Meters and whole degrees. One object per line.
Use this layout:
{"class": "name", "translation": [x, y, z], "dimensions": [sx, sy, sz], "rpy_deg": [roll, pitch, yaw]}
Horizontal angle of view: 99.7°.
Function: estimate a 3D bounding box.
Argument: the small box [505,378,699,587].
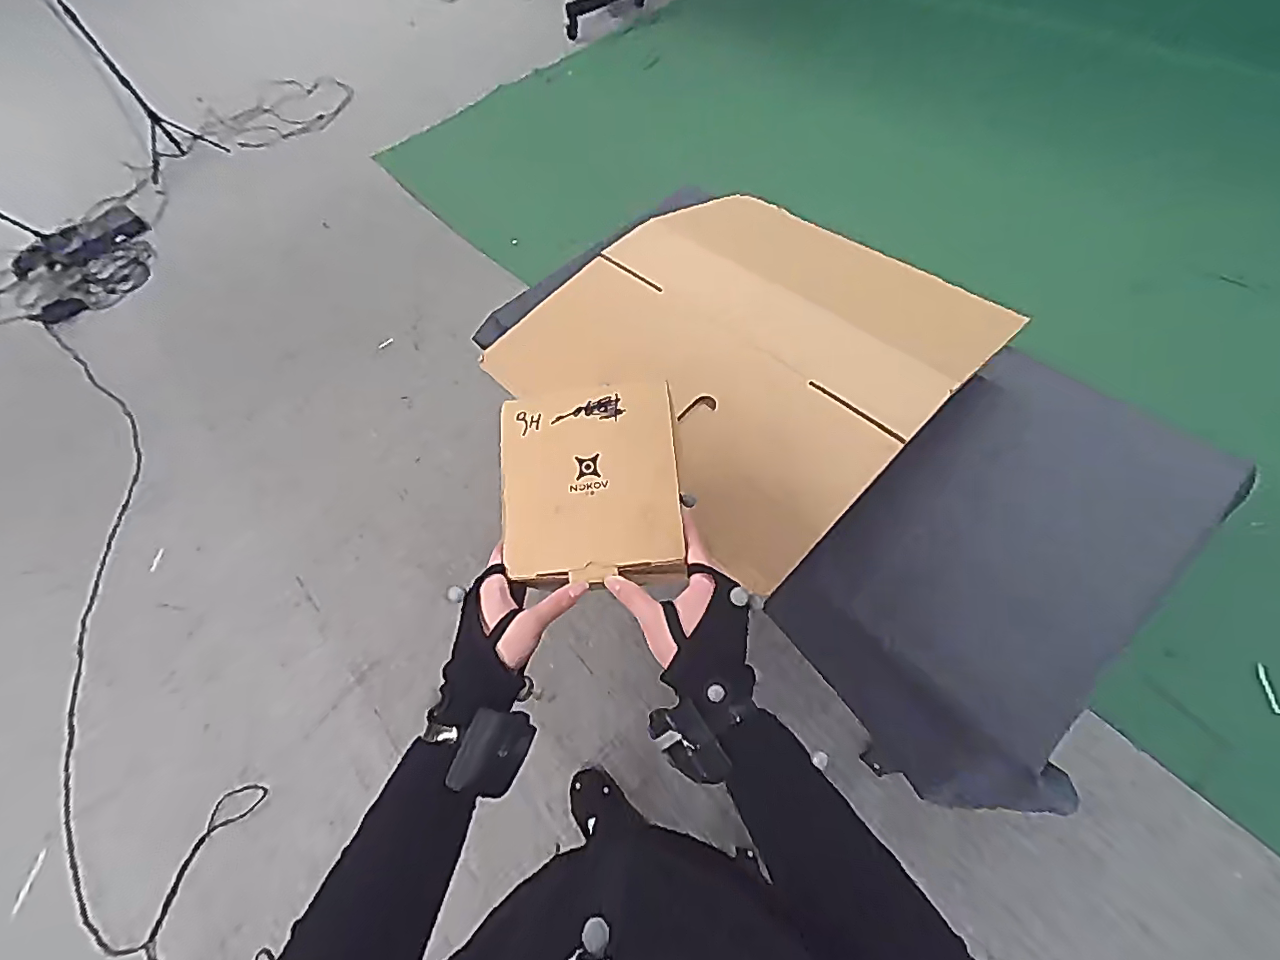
{"class": "small box", "translation": [-0.032, 0.017, 0.582], "dimensions": [0.168, 0.176, 0.179], "rpy_deg": [-9, 72, 7]}
